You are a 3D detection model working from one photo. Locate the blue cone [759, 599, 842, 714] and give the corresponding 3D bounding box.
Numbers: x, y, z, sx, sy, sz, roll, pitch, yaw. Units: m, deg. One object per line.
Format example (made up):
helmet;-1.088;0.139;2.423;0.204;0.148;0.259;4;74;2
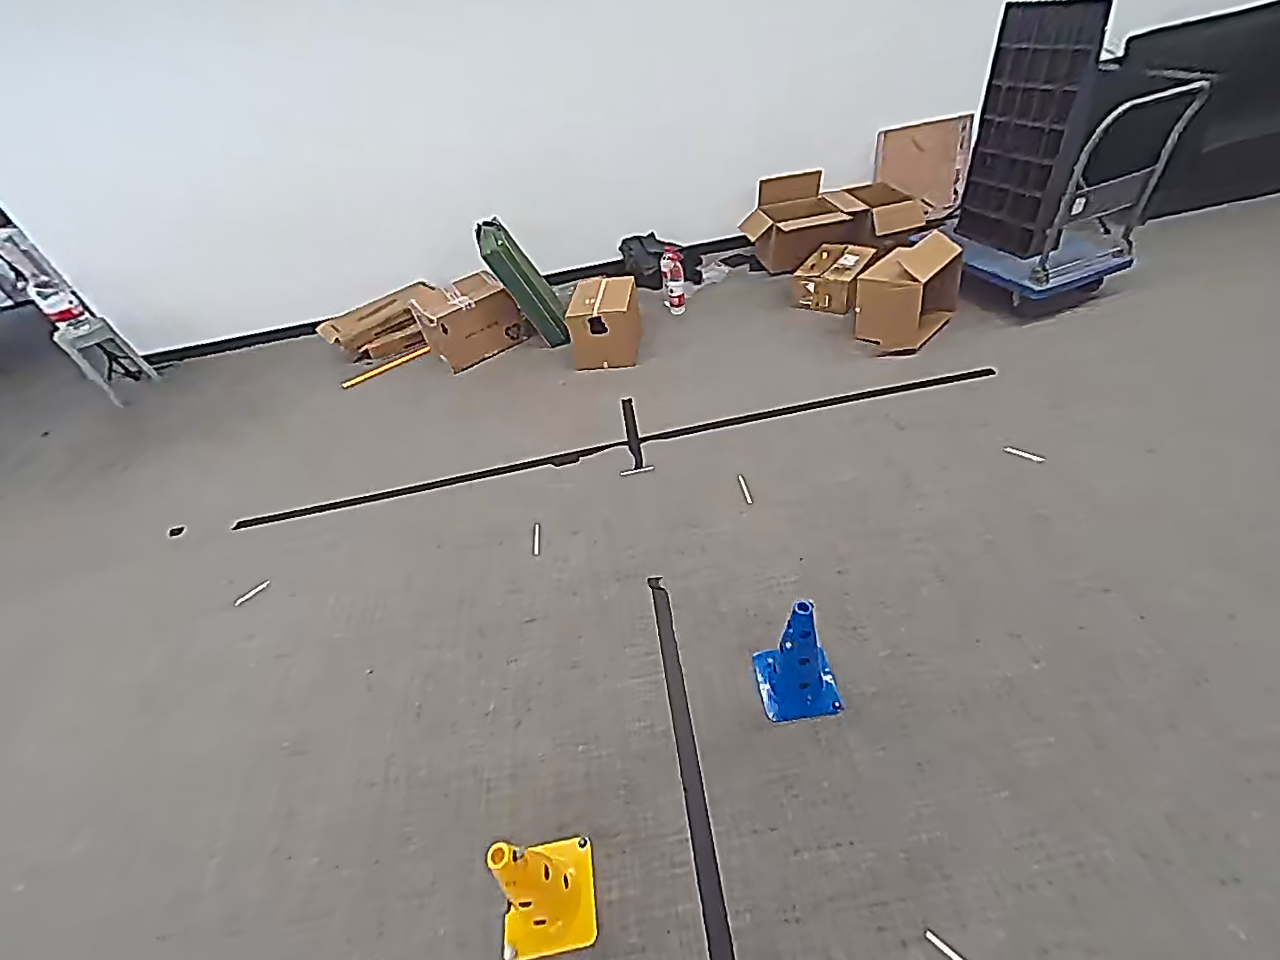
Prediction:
blue cone;0.409;0.423;1.364;0.192;0.380;0.193;-7;42;3
